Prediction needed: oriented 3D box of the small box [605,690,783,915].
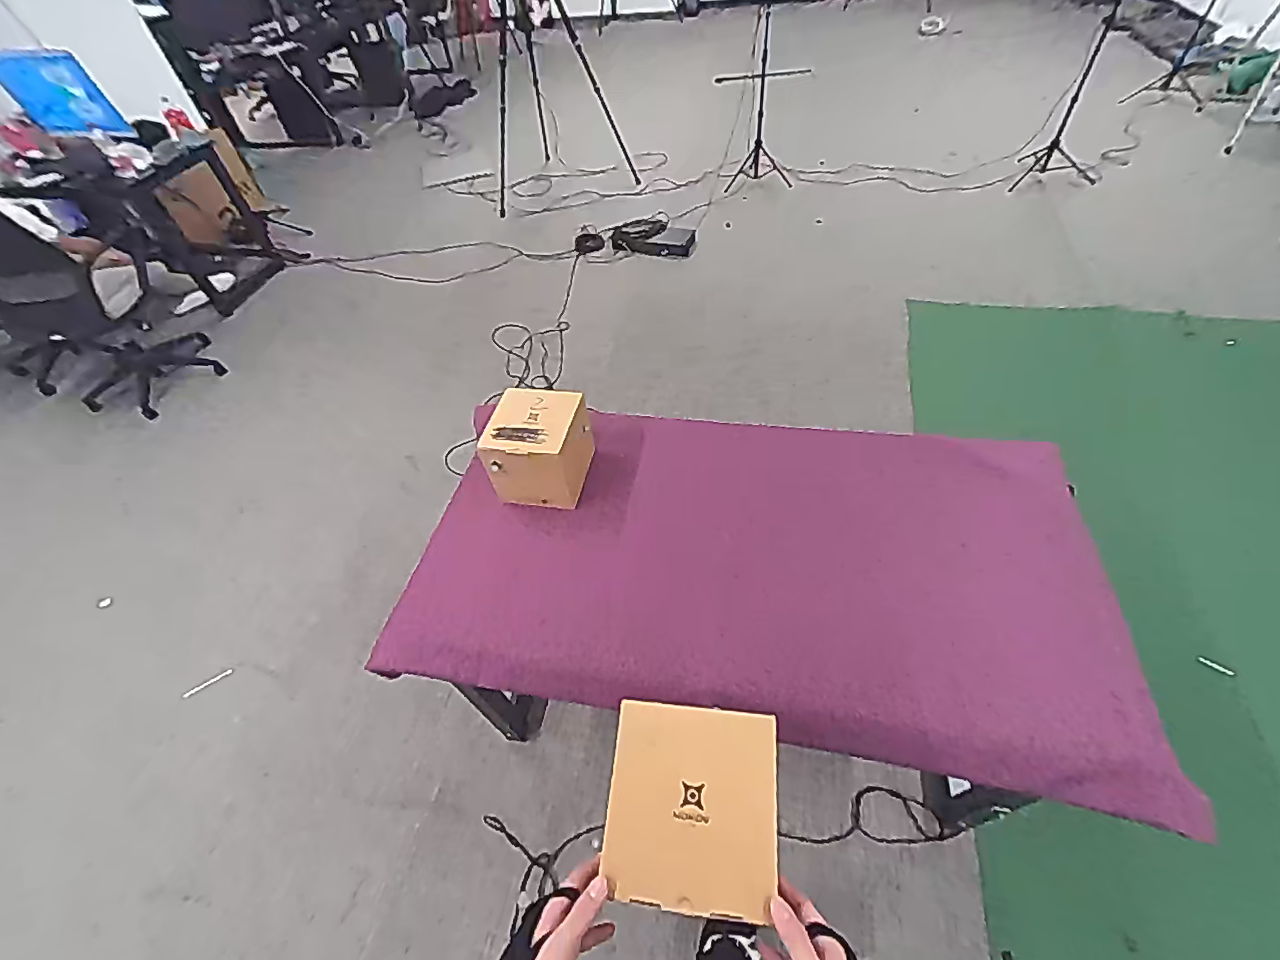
[{"bbox_3d":[0.062,0.350,0.601,0.168,0.176,0.179,4,59,7],"label":"small box"}]
